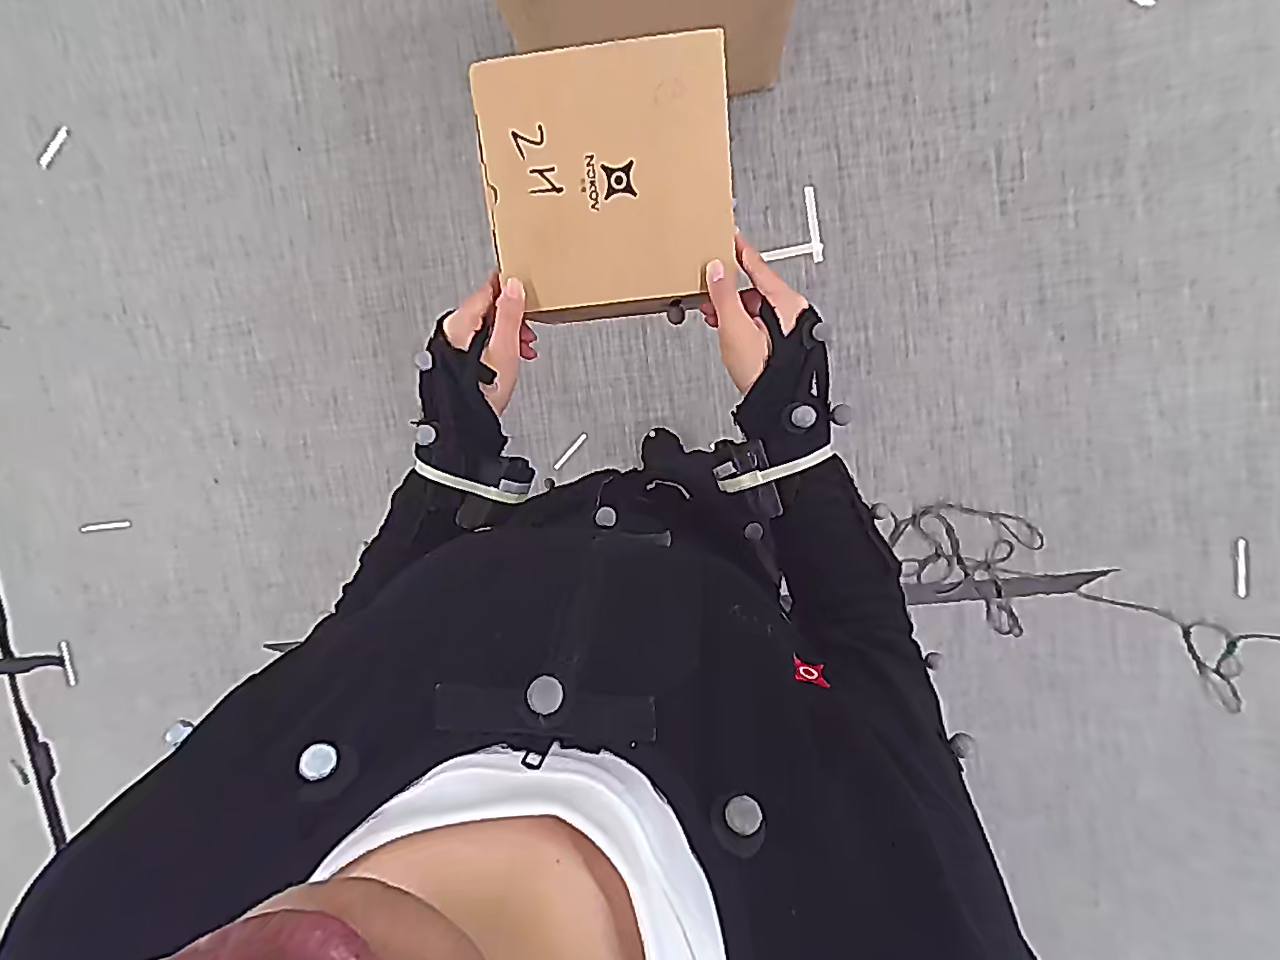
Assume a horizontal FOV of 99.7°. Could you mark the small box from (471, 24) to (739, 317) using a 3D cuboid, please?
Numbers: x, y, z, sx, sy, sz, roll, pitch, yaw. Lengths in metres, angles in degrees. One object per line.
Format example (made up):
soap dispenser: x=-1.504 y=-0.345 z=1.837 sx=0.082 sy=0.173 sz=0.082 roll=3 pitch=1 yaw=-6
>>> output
small box: x=-0.019 y=-0.233 z=0.454 sx=0.179 sy=0.176 sz=0.168 roll=-5 pitch=103 yaw=4
